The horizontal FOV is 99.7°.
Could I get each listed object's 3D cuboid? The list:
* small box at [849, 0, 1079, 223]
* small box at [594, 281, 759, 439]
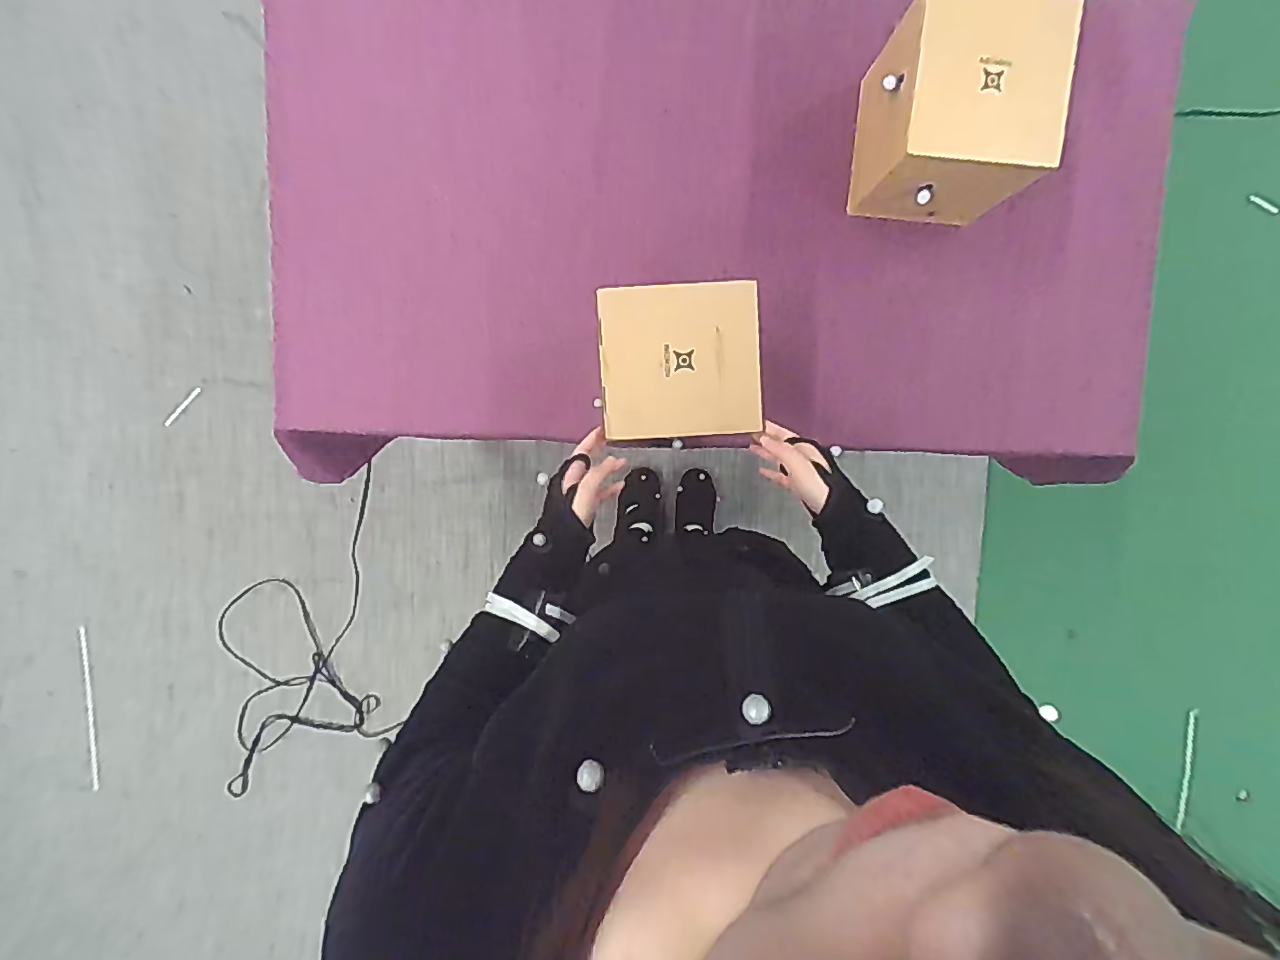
[{"bbox_3d":[0.365,-0.428,0.644,0.168,0.176,0.179,5,94,0],"label":"small box"},{"bbox_3d":[0.041,-0.136,0.667,0.179,0.176,0.168,-3,95,0],"label":"small box"}]
